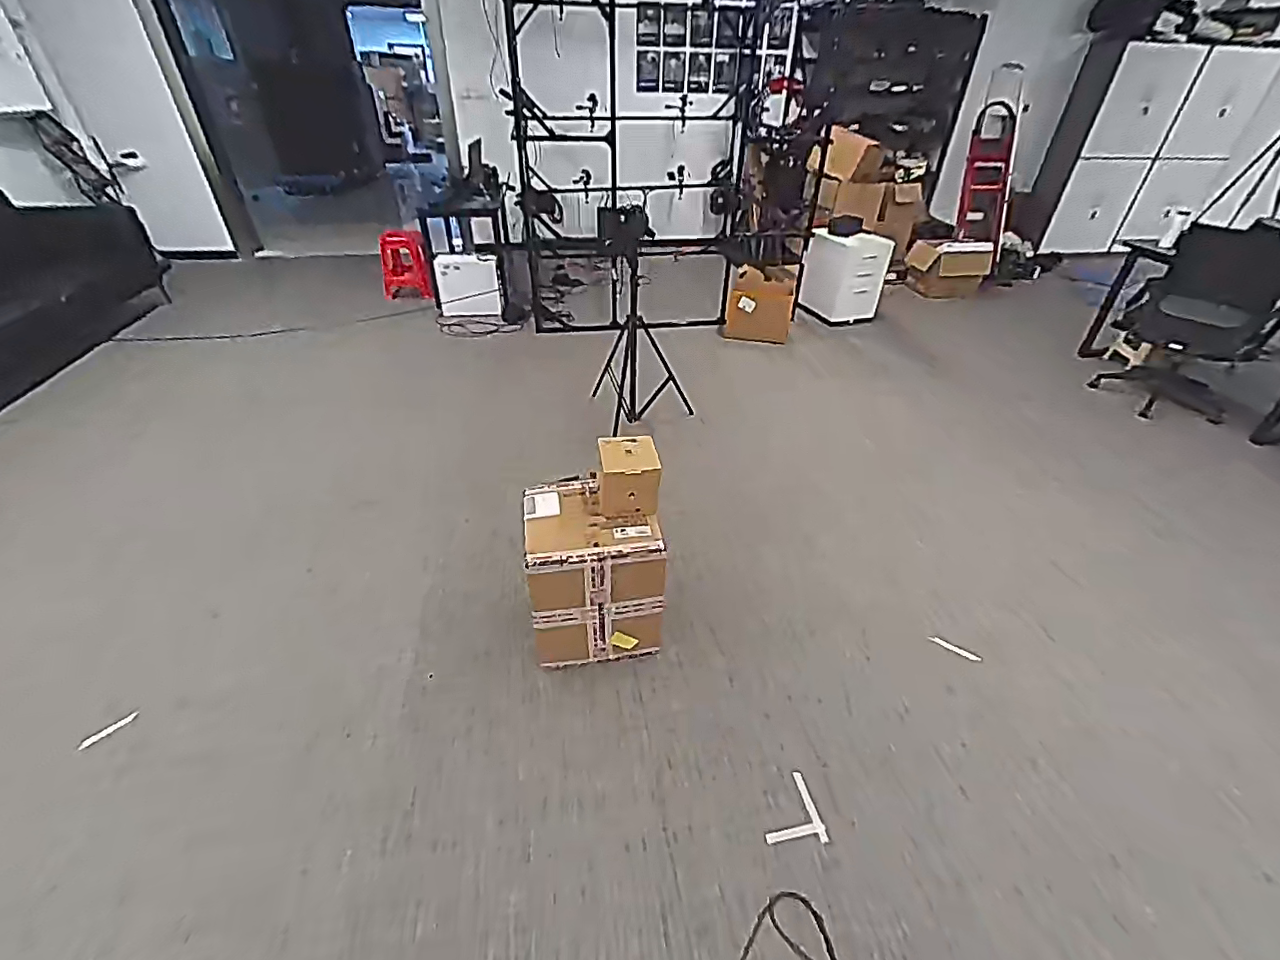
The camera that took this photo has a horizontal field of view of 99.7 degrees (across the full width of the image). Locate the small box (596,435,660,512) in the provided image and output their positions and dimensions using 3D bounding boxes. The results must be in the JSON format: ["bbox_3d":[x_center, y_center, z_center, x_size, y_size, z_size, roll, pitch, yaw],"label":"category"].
[{"bbox_3d":[-0.040,-0.015,1.612,0.168,0.176,0.179,-3,40,-10],"label":"small box"}]
